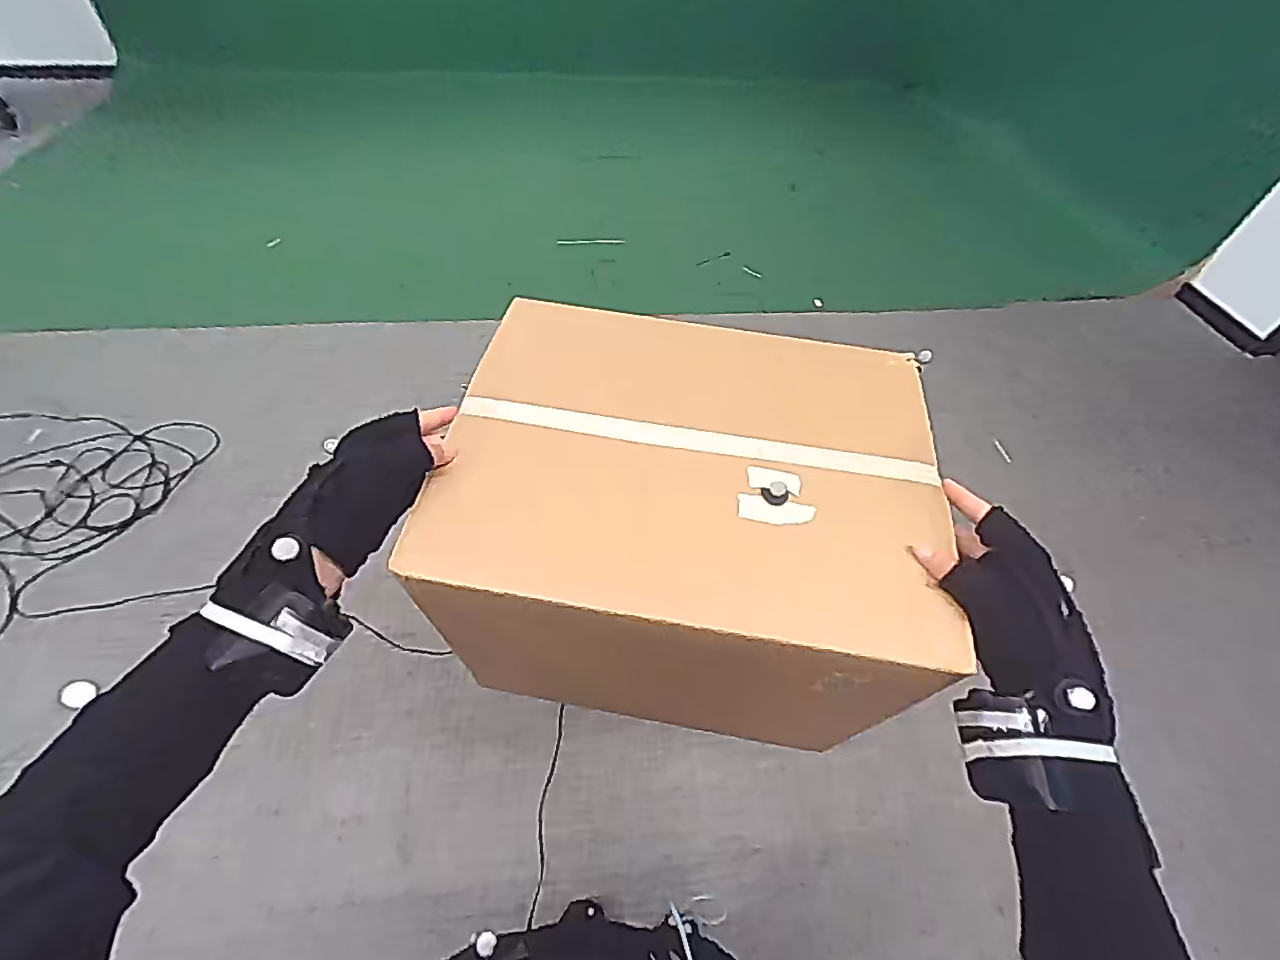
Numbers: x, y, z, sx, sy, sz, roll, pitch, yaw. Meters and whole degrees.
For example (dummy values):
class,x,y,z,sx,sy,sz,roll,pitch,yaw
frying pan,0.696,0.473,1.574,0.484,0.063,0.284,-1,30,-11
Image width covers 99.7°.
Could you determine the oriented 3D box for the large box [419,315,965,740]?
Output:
class,x,y,z,sx,sy,sz,roll,pitch,yaw
large box,0.043,0.063,0.590,0.408,0.320,0.320,9,55,2
